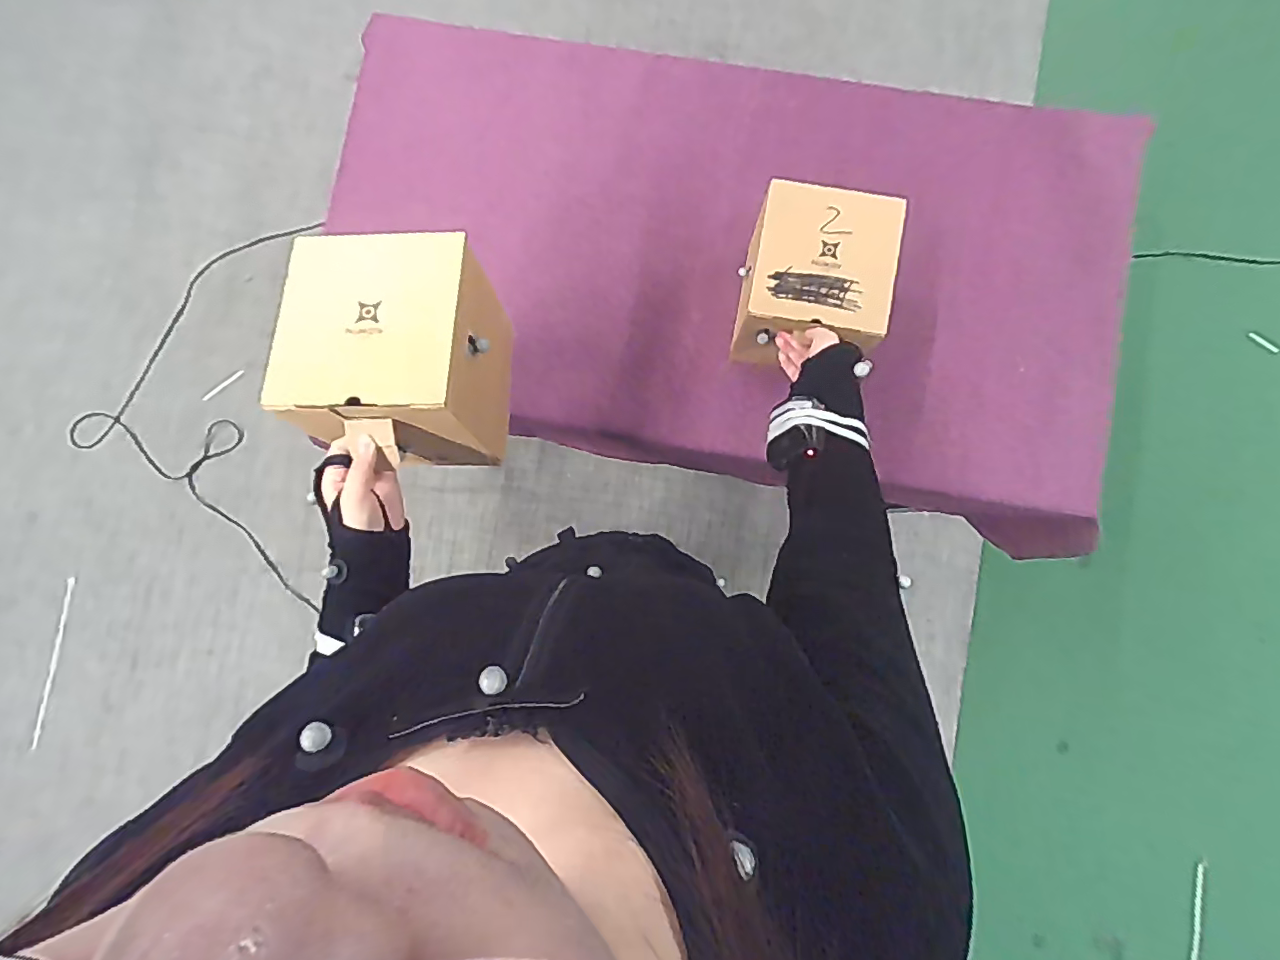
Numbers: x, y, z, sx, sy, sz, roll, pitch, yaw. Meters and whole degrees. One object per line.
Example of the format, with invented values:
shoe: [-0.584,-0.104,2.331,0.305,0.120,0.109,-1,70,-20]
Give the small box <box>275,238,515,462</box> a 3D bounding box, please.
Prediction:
small box: [-0.238,-0.128,0.575,0.168,0.176,0.179,0,76,4]
